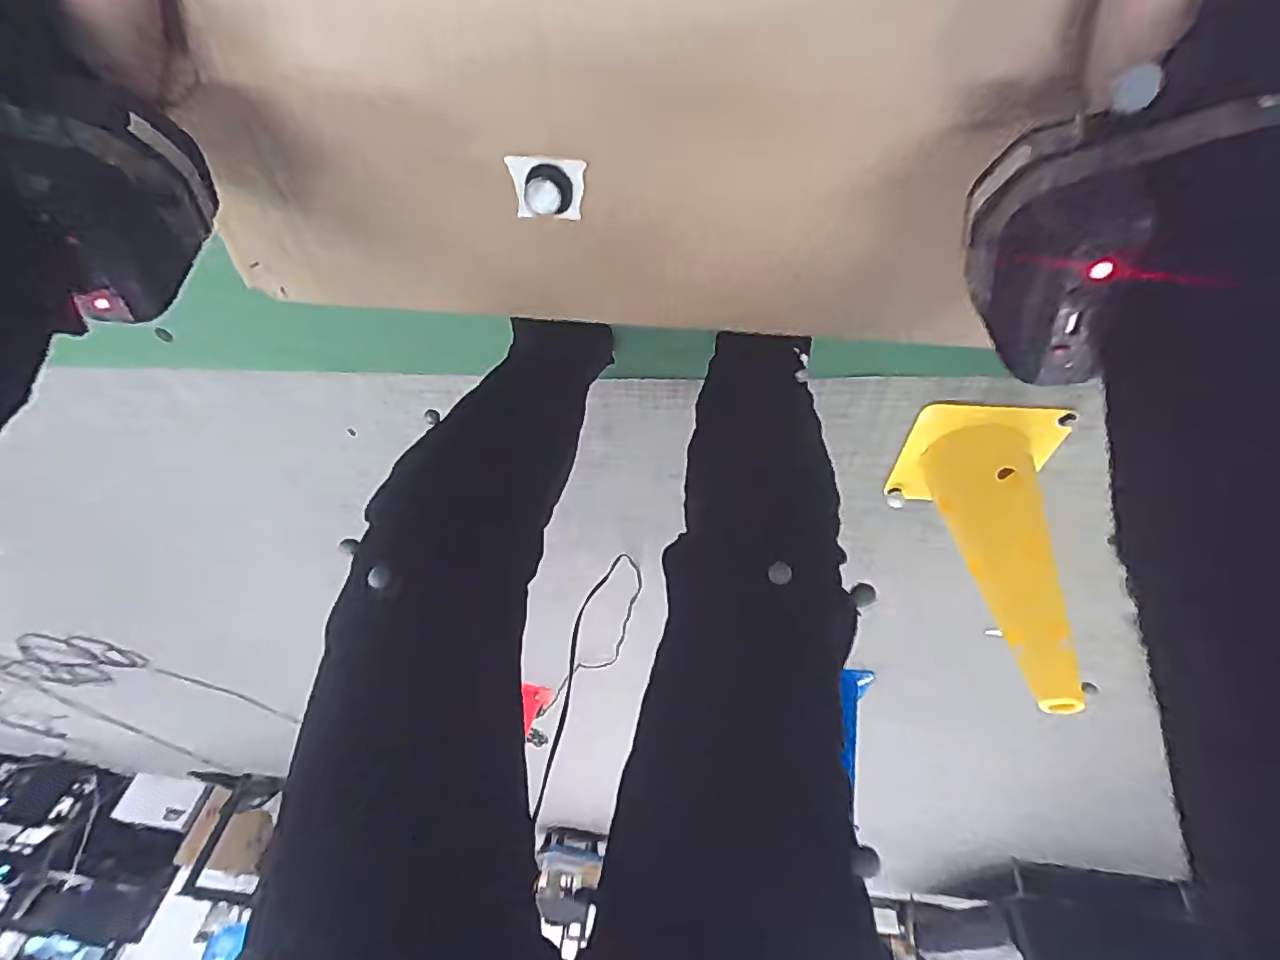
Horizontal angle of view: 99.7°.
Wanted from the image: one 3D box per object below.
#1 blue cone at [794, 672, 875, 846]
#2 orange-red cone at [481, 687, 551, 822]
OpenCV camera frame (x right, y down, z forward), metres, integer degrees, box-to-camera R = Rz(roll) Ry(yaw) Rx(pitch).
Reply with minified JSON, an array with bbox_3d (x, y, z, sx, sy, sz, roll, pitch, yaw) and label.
[{"bbox_3d":[0.498,0.680,1.342,0.192,0.380,0.193,2,139,8],"label":"blue cone"},{"bbox_3d":[-0.435,0.882,1.726,0.199,0.360,0.198,16,138,-6],"label":"orange-red cone"}]
